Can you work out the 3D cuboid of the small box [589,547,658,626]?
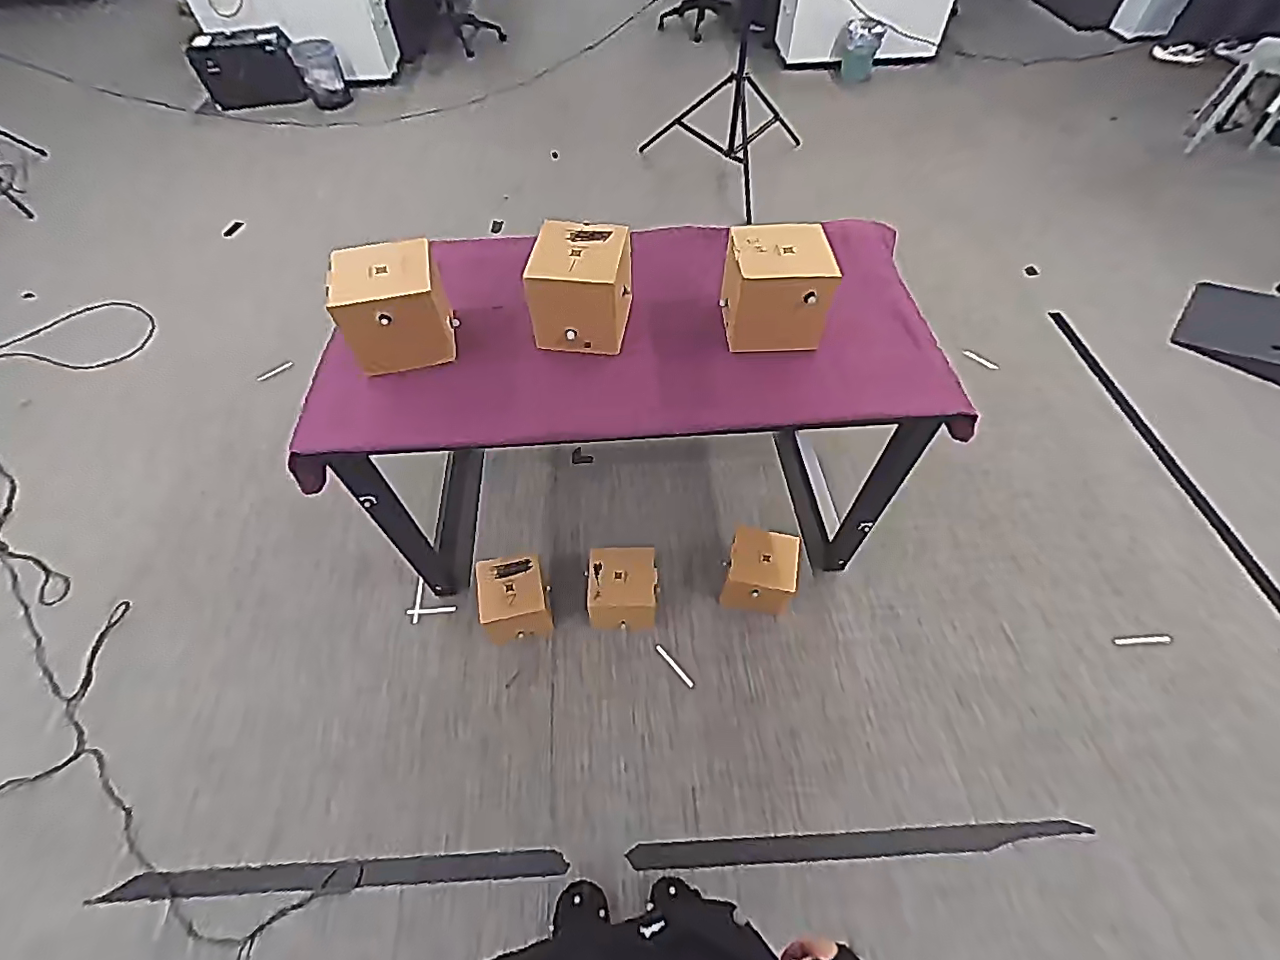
[{"bbox_3d":[-0.042,0.293,1.475,0.179,0.176,0.168,0,56,1],"label":"small box"}]

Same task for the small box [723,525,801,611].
[{"bbox_3d":[0.335,0.248,1.499,0.179,0.176,0.168,10,57,9],"label":"small box"}]

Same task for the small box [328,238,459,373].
[{"bbox_3d":[-0.457,-0.323,1.020,0.179,0.176,0.168,-12,58,-9],"label":"small box"}]

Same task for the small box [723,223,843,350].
[{"bbox_3d":[0.261,-0.366,1.033,0.179,0.176,0.168,-2,55,0],"label":"small box"}]

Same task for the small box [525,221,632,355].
[{"bbox_3d":[-0.109,-0.368,1.043,0.168,0.176,0.179,6,57,5],"label":"small box"}]
